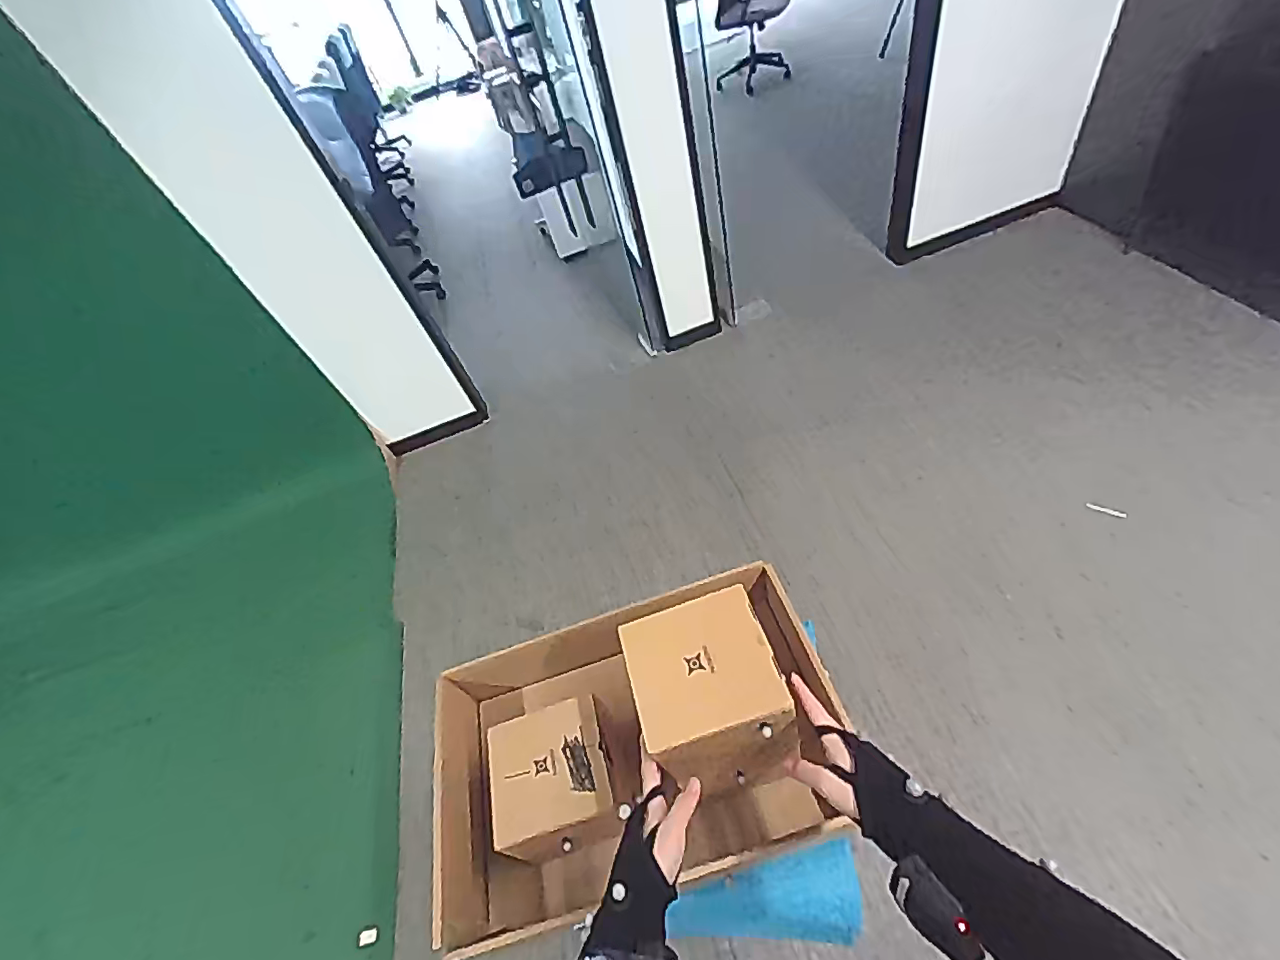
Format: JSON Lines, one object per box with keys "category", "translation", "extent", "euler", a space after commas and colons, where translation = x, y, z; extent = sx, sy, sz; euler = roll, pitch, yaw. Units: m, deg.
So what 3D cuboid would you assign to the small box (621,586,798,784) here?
{"category": "small box", "translation": [0.092, 0.272, 0.707], "extent": [0.179, 0.176, 0.168], "euler": [-19, 47, 1]}
